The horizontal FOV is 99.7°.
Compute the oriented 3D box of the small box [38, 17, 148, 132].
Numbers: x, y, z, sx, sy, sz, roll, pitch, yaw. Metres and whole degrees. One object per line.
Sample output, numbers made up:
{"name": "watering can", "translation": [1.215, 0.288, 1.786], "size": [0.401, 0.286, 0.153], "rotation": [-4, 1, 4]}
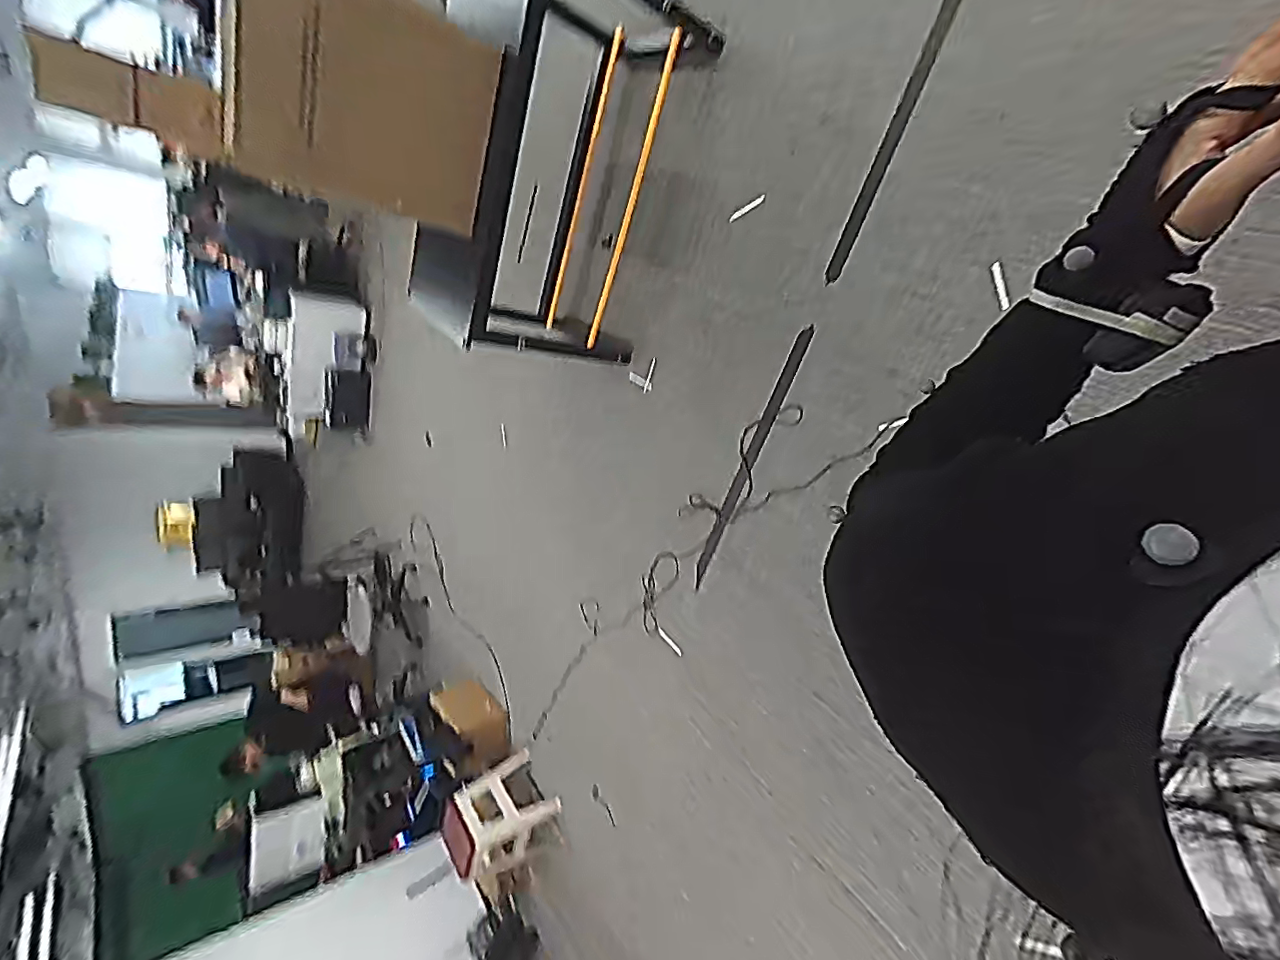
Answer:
{"name": "small box", "translation": [-1.272, -0.943, 1.272], "size": [0.179, 0.176, 0.168], "rotation": [37, 118, 41]}

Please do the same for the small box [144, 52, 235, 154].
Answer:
{"name": "small box", "translation": [-1.157, -0.958, 1.389], "size": [0.179, 0.176, 0.168], "rotation": [35, 117, 42]}
